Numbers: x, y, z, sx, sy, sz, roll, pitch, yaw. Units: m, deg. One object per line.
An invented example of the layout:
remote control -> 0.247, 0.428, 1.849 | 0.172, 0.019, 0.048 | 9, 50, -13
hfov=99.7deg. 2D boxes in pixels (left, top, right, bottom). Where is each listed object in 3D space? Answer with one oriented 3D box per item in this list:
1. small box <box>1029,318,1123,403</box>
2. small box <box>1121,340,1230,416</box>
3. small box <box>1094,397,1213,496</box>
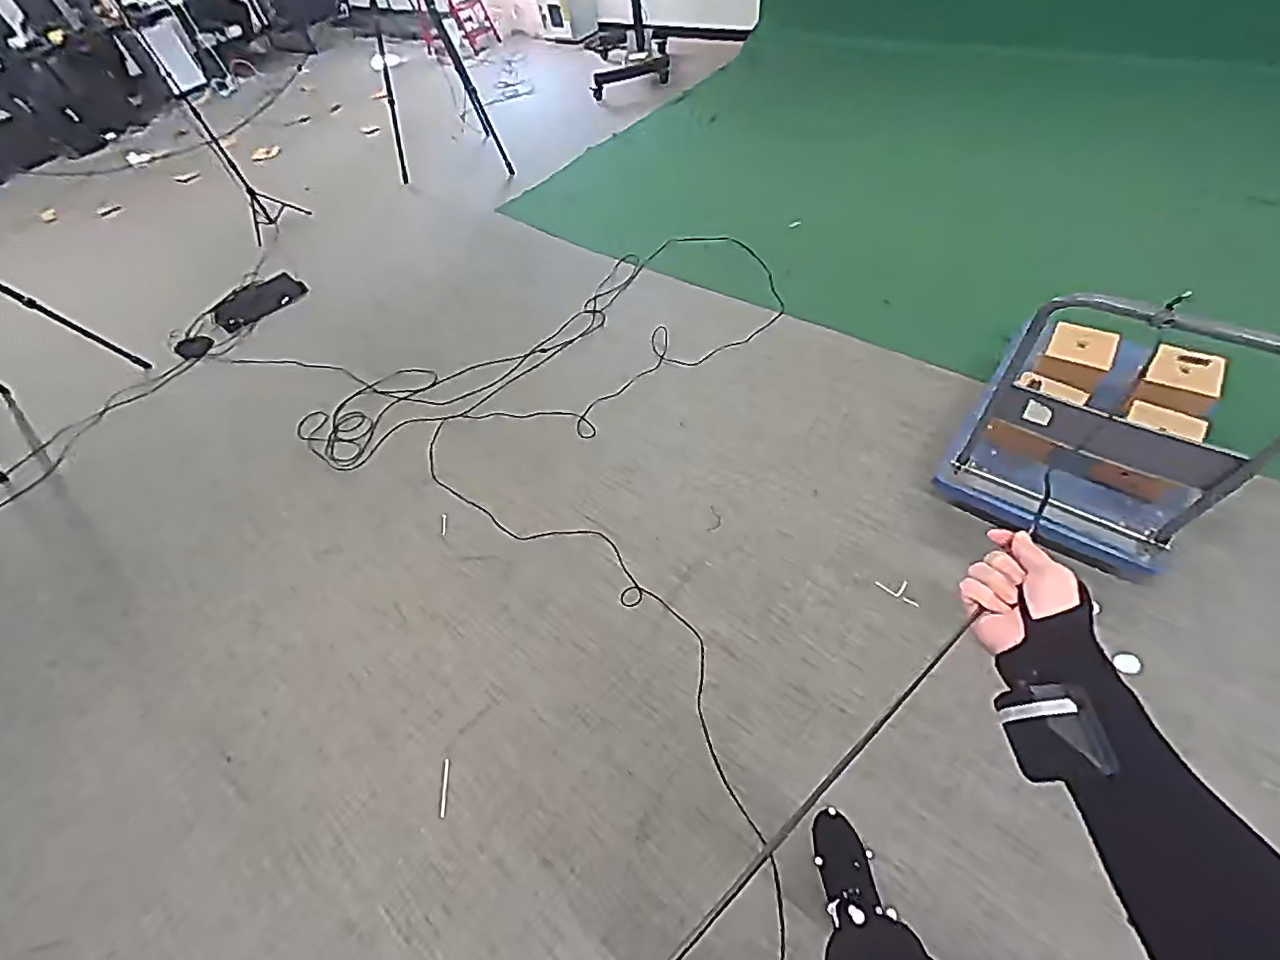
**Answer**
small box -> 1.362, -0.372, 1.701 | 0.168, 0.176, 0.179 | 26, 62, 26
small box -> 1.567, -0.276, 1.590 | 0.168, 0.176, 0.179 | 25, 63, 27
small box -> 1.400, -0.091, 1.486 | 0.168, 0.176, 0.179 | 30, 65, 28
